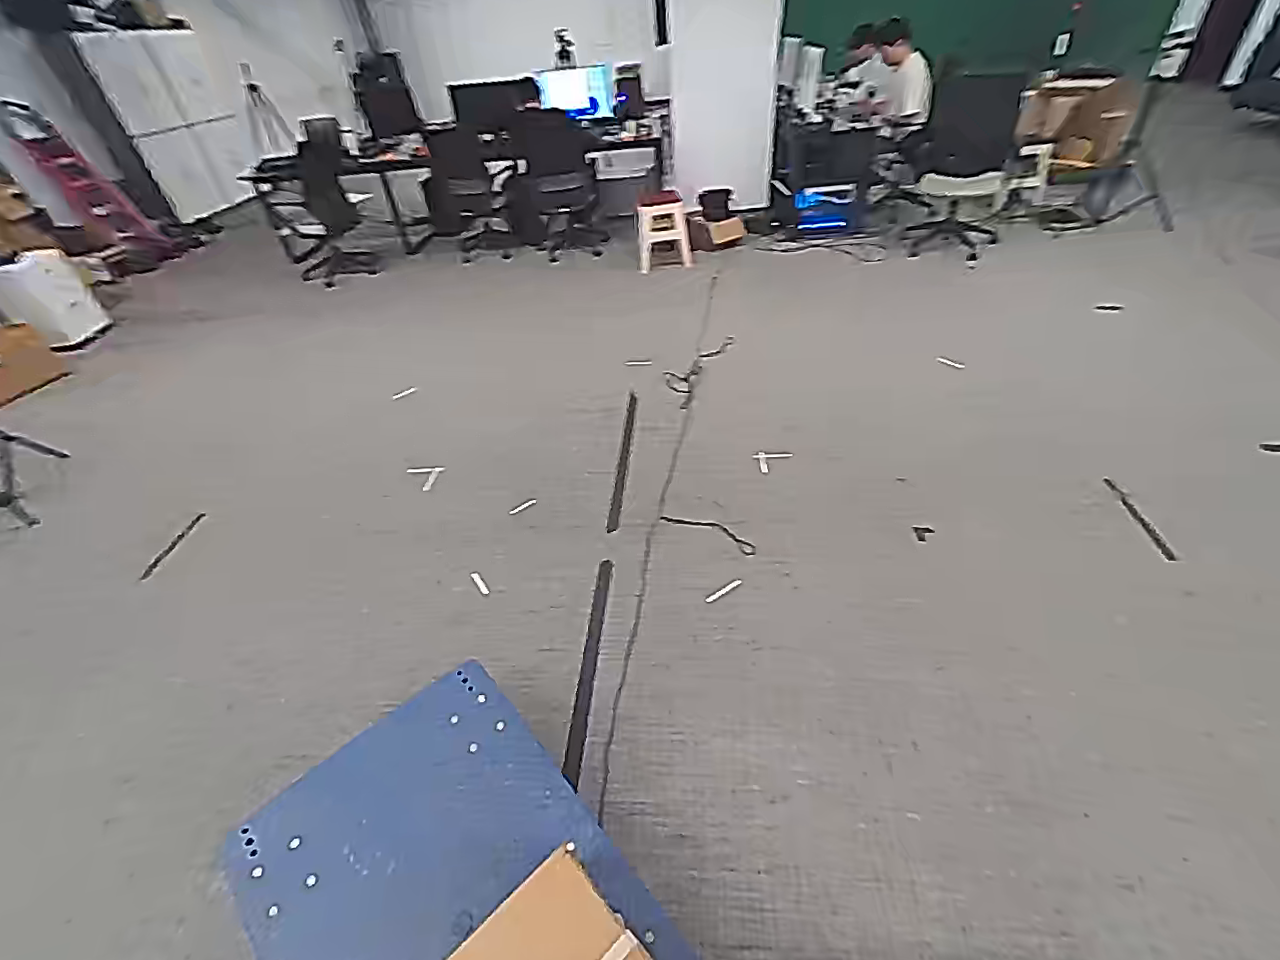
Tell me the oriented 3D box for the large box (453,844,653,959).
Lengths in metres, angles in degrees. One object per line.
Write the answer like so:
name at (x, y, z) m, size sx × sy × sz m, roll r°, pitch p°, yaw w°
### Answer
large box at (-0.164, 0.860, 0.809) m, size 0.408 × 0.320 × 0.320 m, roll -34°, pitch 61°, yaw -29°
